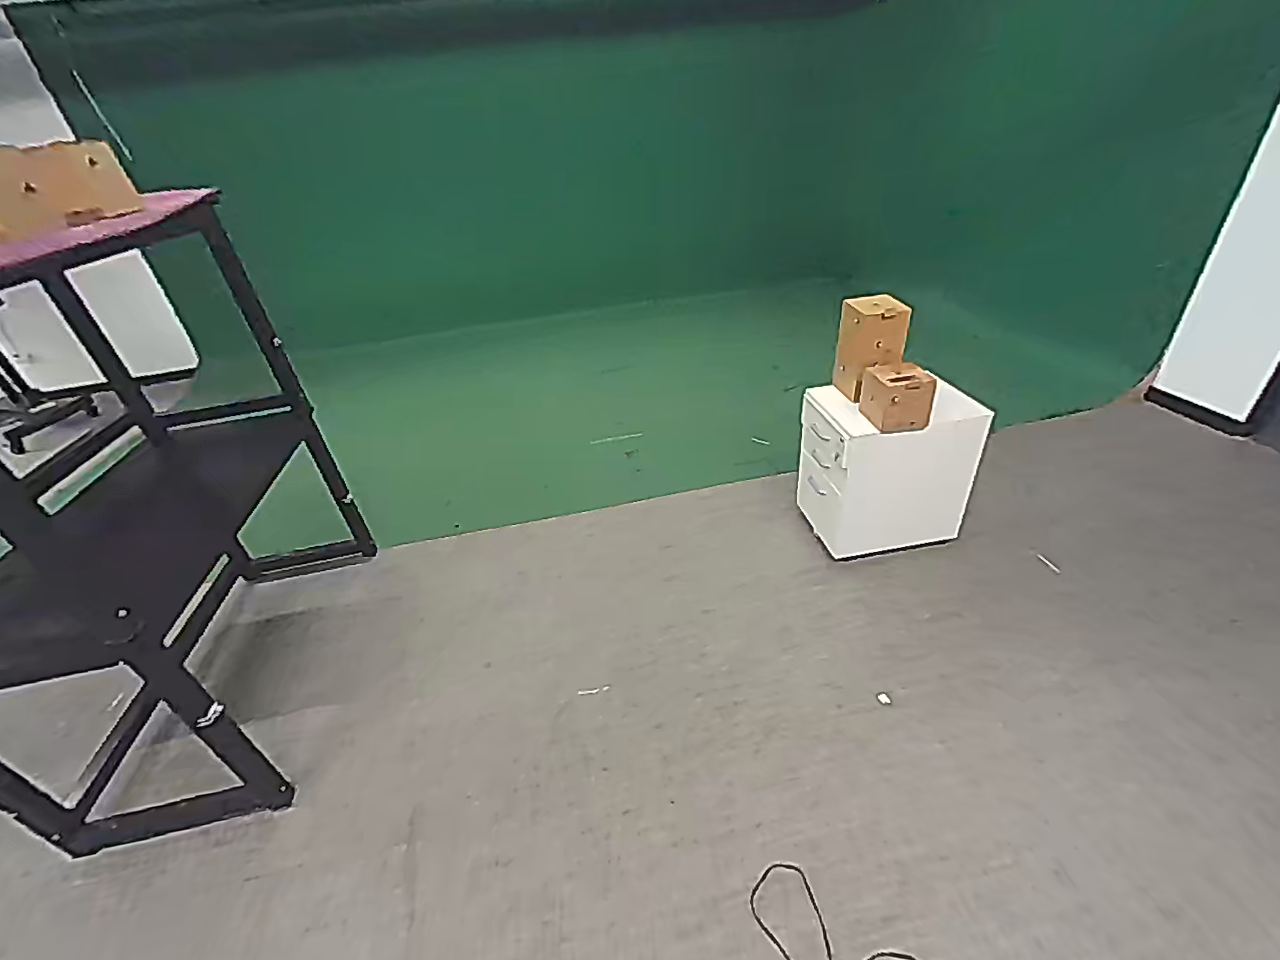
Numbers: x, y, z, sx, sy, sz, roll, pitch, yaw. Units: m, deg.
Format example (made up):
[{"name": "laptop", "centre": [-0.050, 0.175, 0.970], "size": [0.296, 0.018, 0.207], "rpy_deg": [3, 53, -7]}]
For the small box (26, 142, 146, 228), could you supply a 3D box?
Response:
[{"name": "small box", "centre": [-1.449, -0.759, 1.397], "size": [0.168, 0.176, 0.179], "rpy_deg": [-12, 34, -3]}]

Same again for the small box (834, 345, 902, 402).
[{"name": "small box", "centre": [0.846, -0.407, 2.026], "size": [0.168, 0.176, 0.179], "rpy_deg": [-10, 35, -4]}]

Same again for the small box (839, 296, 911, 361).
[{"name": "small box", "centre": [0.833, -0.542, 1.935], "size": [0.168, 0.176, 0.179], "rpy_deg": [-8, 36, -3]}]

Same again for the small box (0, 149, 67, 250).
[{"name": "small box", "centre": [-1.361, -0.574, 1.114], "size": [0.168, 0.176, 0.179], "rpy_deg": [-12, 35, -6]}]
